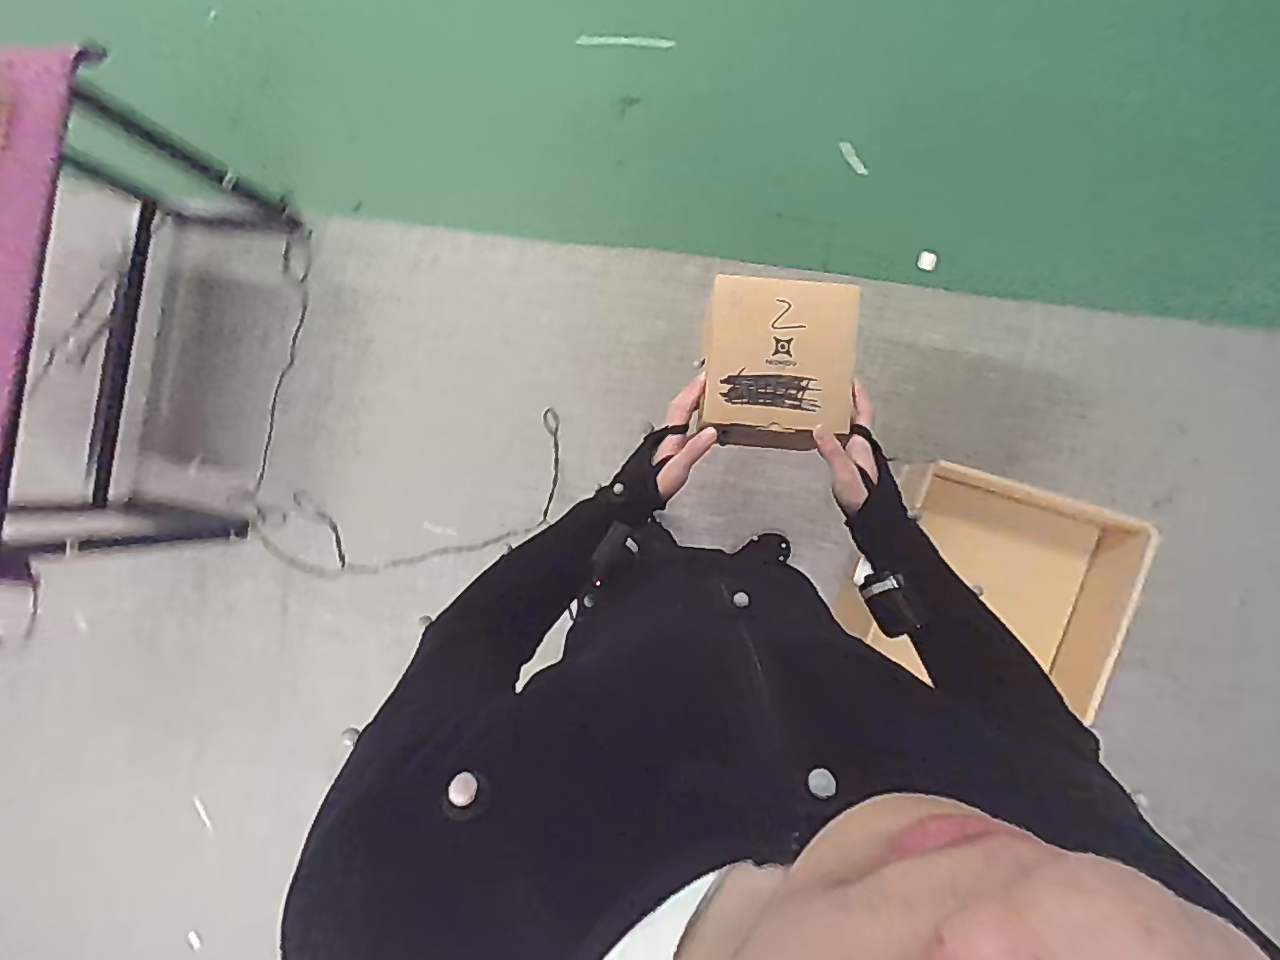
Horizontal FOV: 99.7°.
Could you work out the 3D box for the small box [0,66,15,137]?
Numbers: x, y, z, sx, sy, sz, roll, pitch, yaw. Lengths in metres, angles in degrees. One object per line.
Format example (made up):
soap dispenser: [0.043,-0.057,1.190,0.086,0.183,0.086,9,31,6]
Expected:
small box: [-1.514,-0.854,1.151,0.179,0.176,0.168,14,93,12]
